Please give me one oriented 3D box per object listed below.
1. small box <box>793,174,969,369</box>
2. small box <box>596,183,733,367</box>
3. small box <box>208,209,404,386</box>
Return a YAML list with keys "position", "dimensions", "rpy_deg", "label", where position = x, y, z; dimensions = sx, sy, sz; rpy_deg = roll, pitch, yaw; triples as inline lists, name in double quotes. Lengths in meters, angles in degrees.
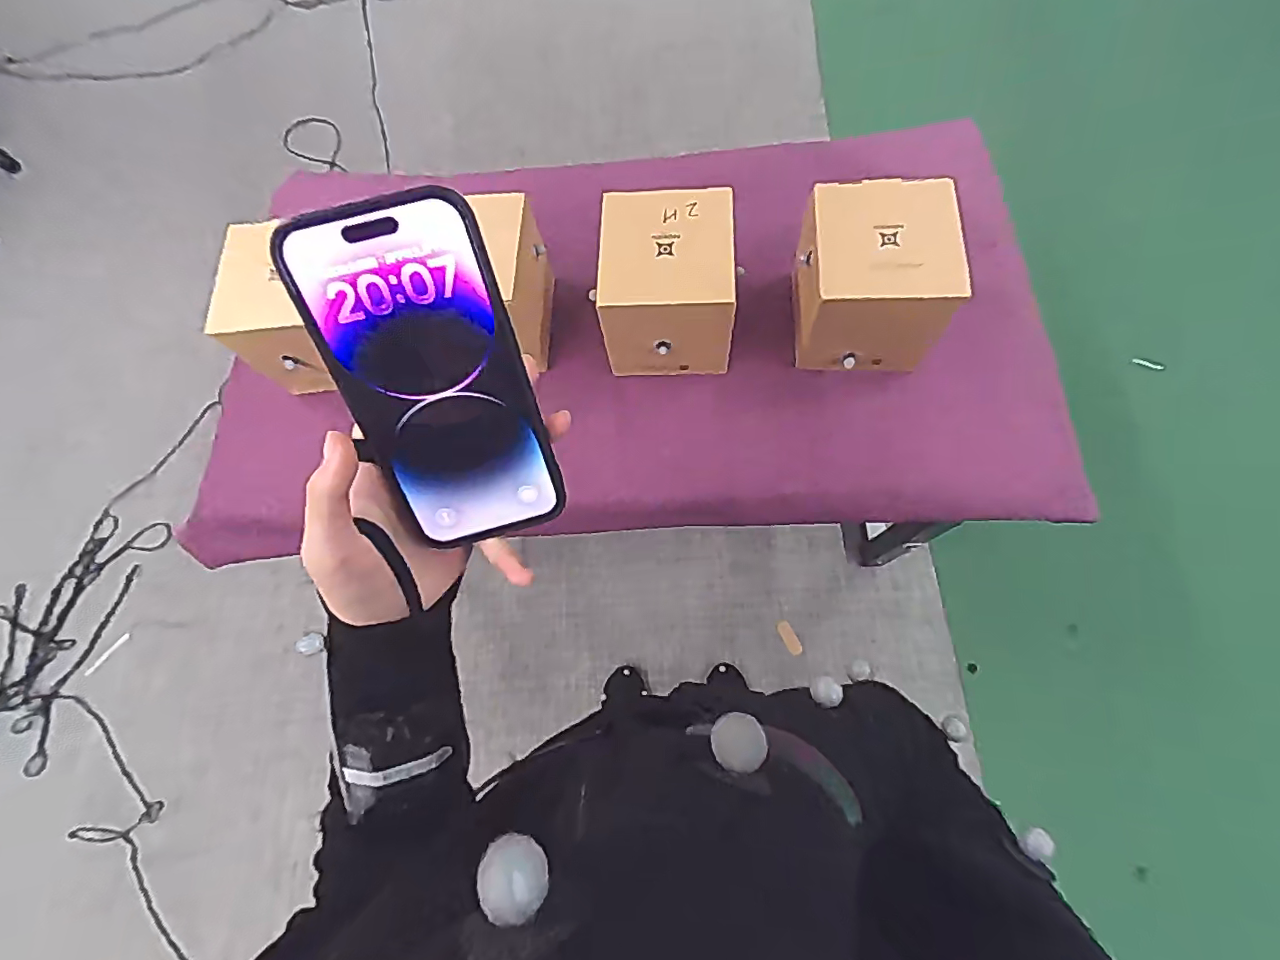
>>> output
- position: [0.299, -0.266, 0.711]
  dimensions: [0.168, 0.176, 0.179]
  rpy_deg: [2, 71, 7]
  label: "small box"
- position: [0.039, -0.266, 0.734]
  dimensions: [0.168, 0.176, 0.179]
  rpy_deg: [1, 71, 5]
  label: "small box"
- position: [-0.460, -0.248, 0.774]
  dimensions: [0.168, 0.176, 0.179]
  rpy_deg: [-5, 70, 3]
  label: "small box"
